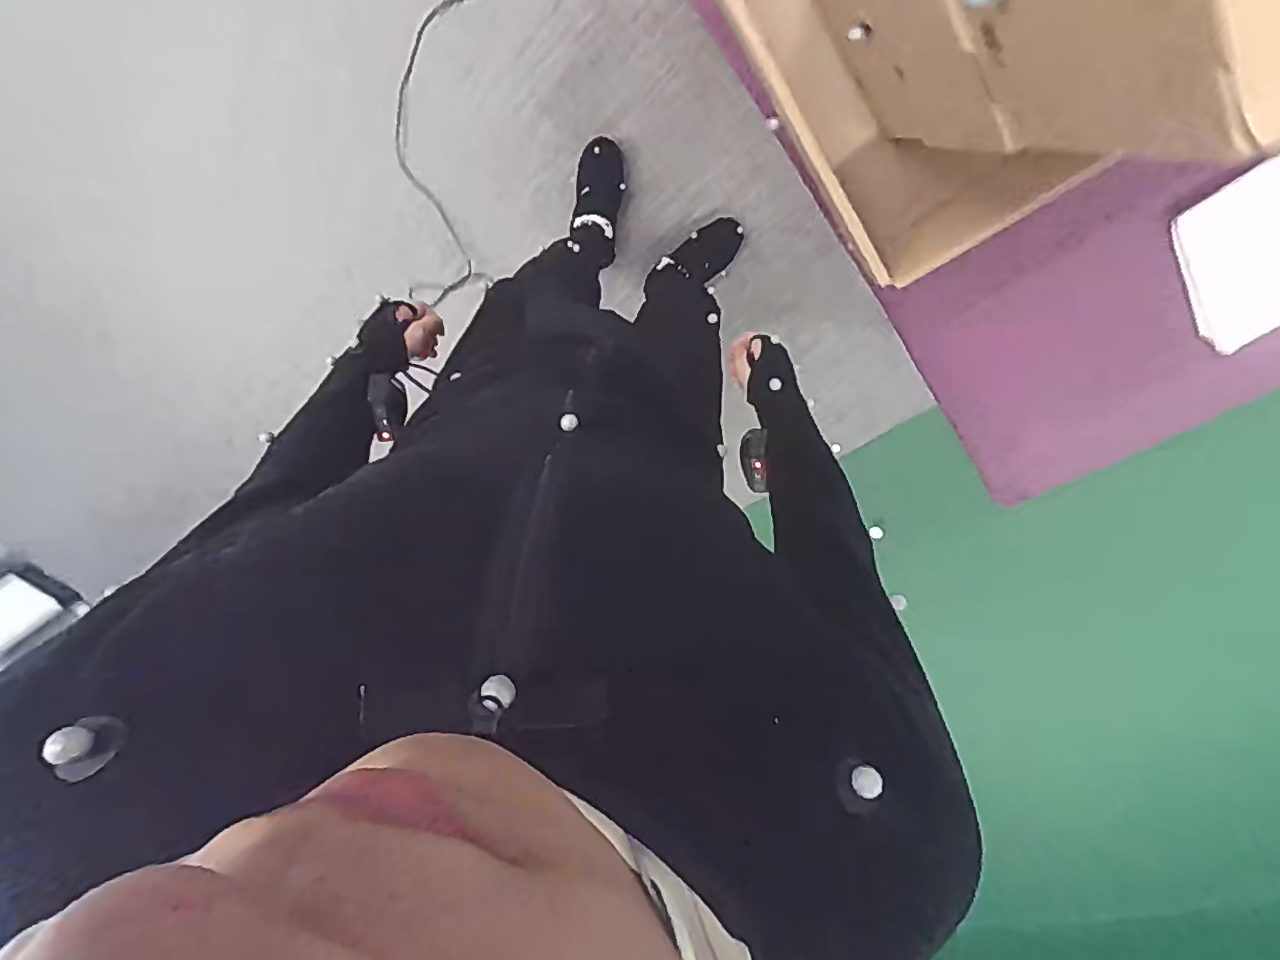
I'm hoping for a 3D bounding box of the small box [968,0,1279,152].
[{"bbox_3d":[0.226,-0.245,0.176,0.179,0.176,0.168,-29,114,25],"label":"small box"}]
